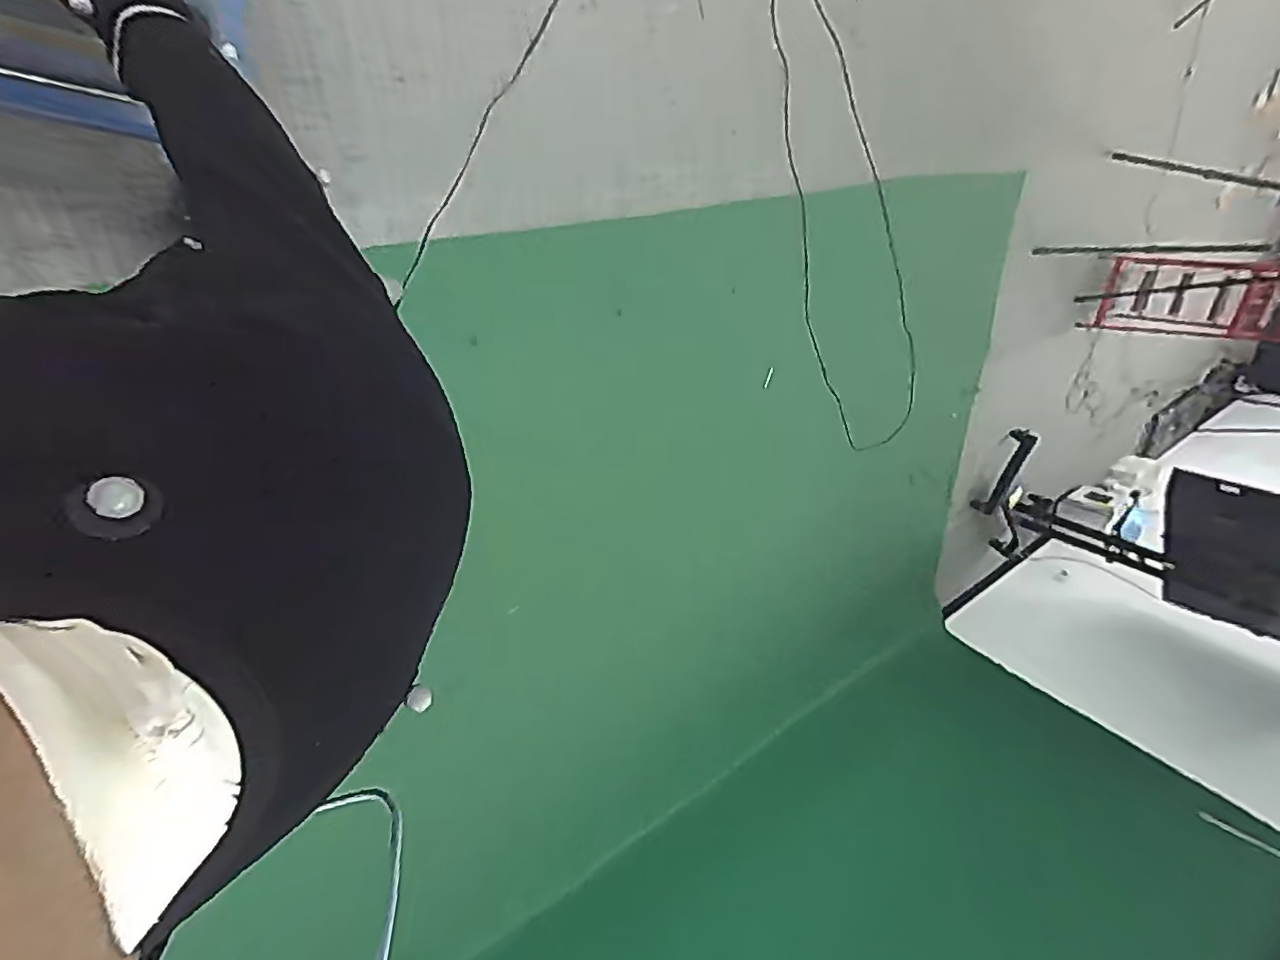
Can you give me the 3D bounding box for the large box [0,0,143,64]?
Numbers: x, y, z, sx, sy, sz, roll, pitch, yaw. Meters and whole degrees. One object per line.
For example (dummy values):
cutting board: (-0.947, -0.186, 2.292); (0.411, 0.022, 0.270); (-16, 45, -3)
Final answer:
large box: (-0.881, -0.839, 0.676); (0.320, 0.320, 0.408); (-4, 112, -34)
